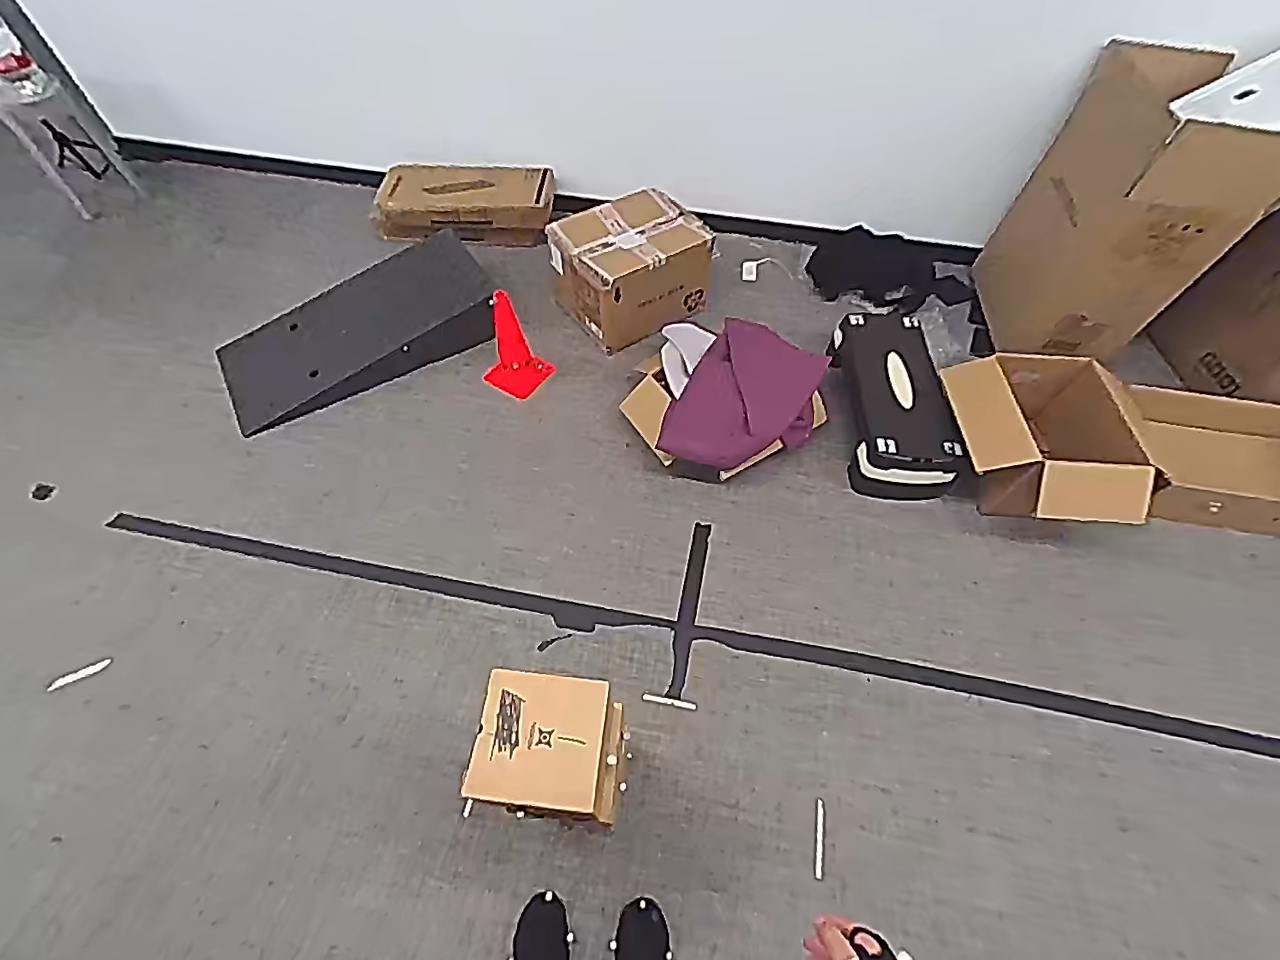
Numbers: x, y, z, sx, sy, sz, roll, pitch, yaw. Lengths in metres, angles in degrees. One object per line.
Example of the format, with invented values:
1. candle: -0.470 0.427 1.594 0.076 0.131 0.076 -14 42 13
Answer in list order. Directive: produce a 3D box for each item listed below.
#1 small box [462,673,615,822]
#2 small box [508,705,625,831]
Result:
1. small box: -0.135 0.398 0.798 0.179 0.176 0.168 5 56 3
2. small box: -0.116 0.492 0.933 0.168 0.176 0.179 4 56 3
